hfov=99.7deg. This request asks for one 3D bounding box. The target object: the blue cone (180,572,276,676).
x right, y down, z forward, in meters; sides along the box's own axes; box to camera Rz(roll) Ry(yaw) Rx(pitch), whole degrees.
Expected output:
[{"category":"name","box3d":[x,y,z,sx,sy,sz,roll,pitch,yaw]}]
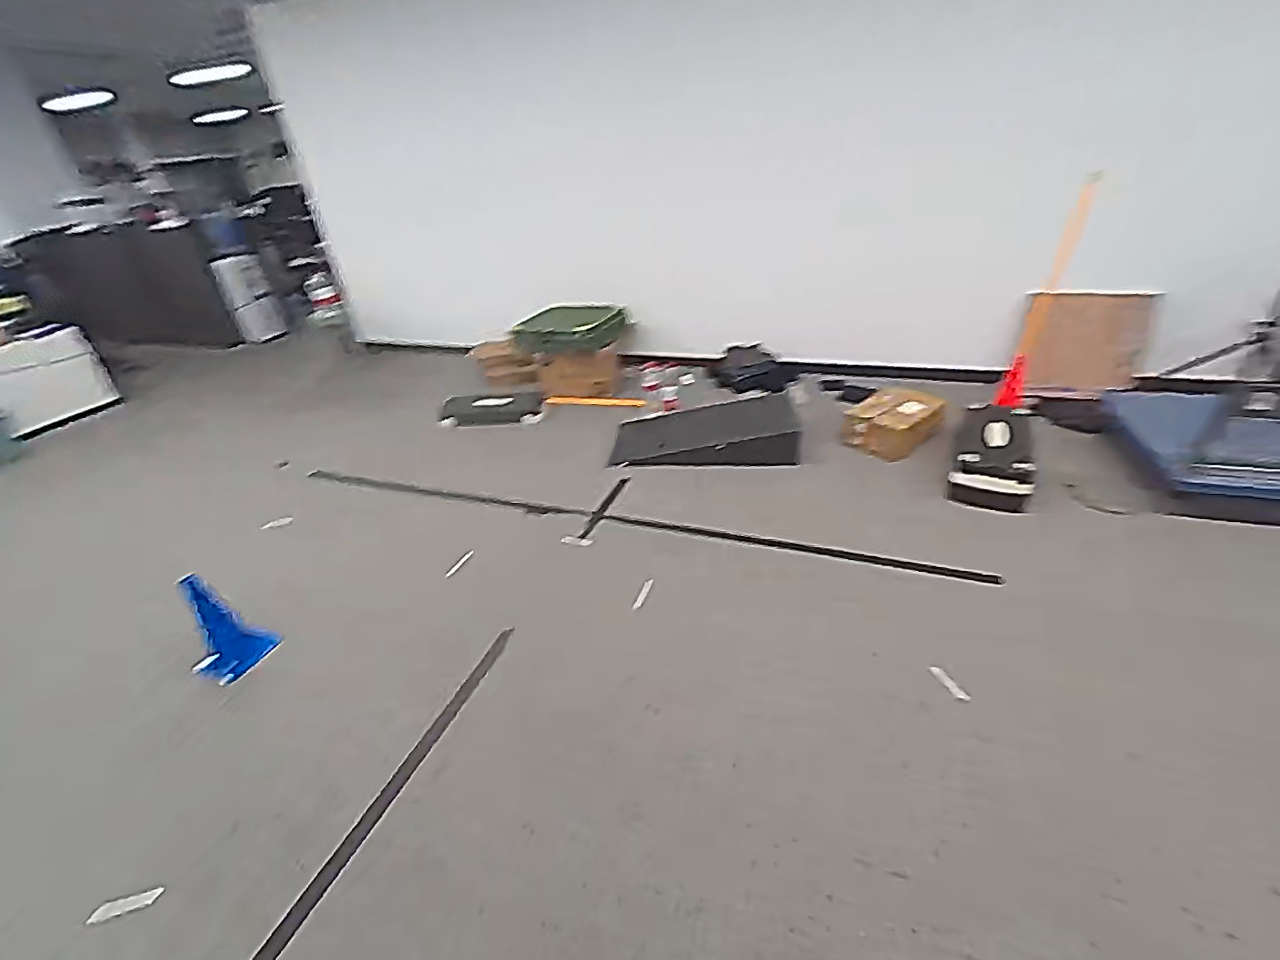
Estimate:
[{"category":"blue cone","box3d":[-1.432,0.466,1.827,0.192,0.380,0.193,7,34,22]}]
